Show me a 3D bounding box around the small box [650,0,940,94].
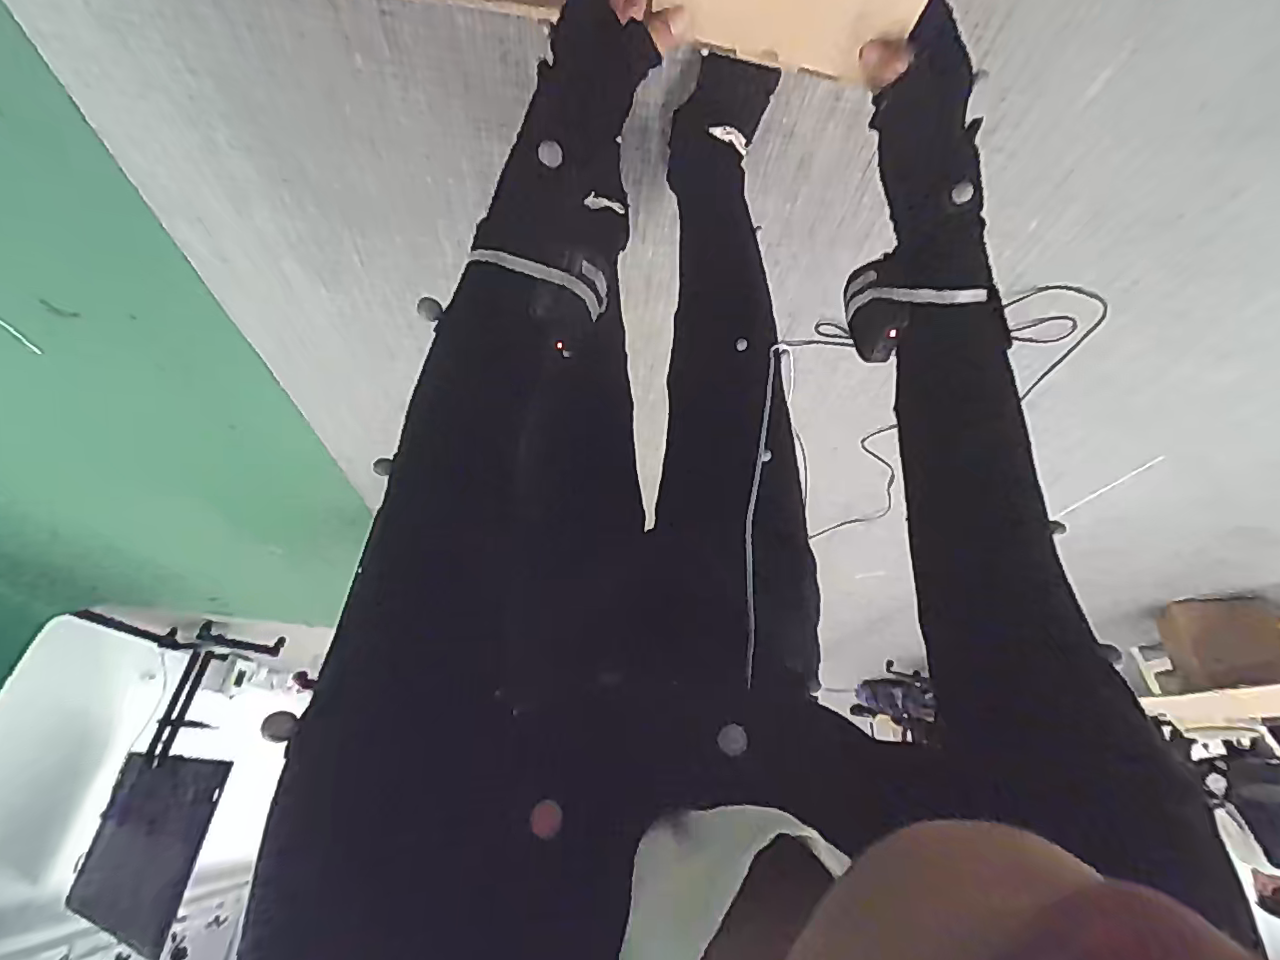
[{"bbox_3d":[0.107,-0.377,0.310,0.168,0.176,0.179,7,151,-10],"label":"small box"}]
